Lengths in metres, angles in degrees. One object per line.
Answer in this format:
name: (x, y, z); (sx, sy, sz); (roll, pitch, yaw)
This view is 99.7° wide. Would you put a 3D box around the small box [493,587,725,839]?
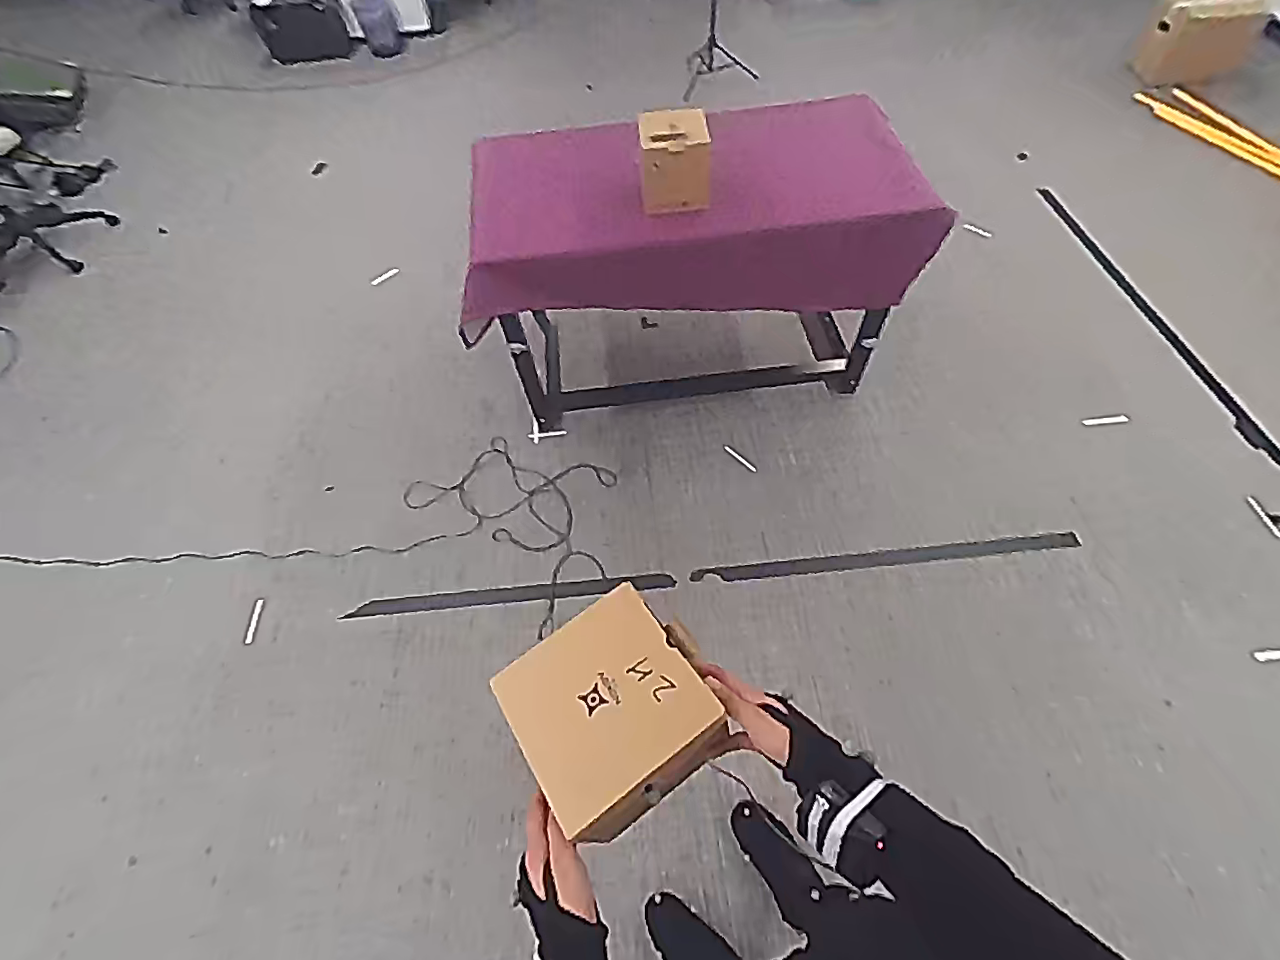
small box: (-0.023, 0.255, 0.582); (0.179, 0.176, 0.168); (-33, 56, -12)
